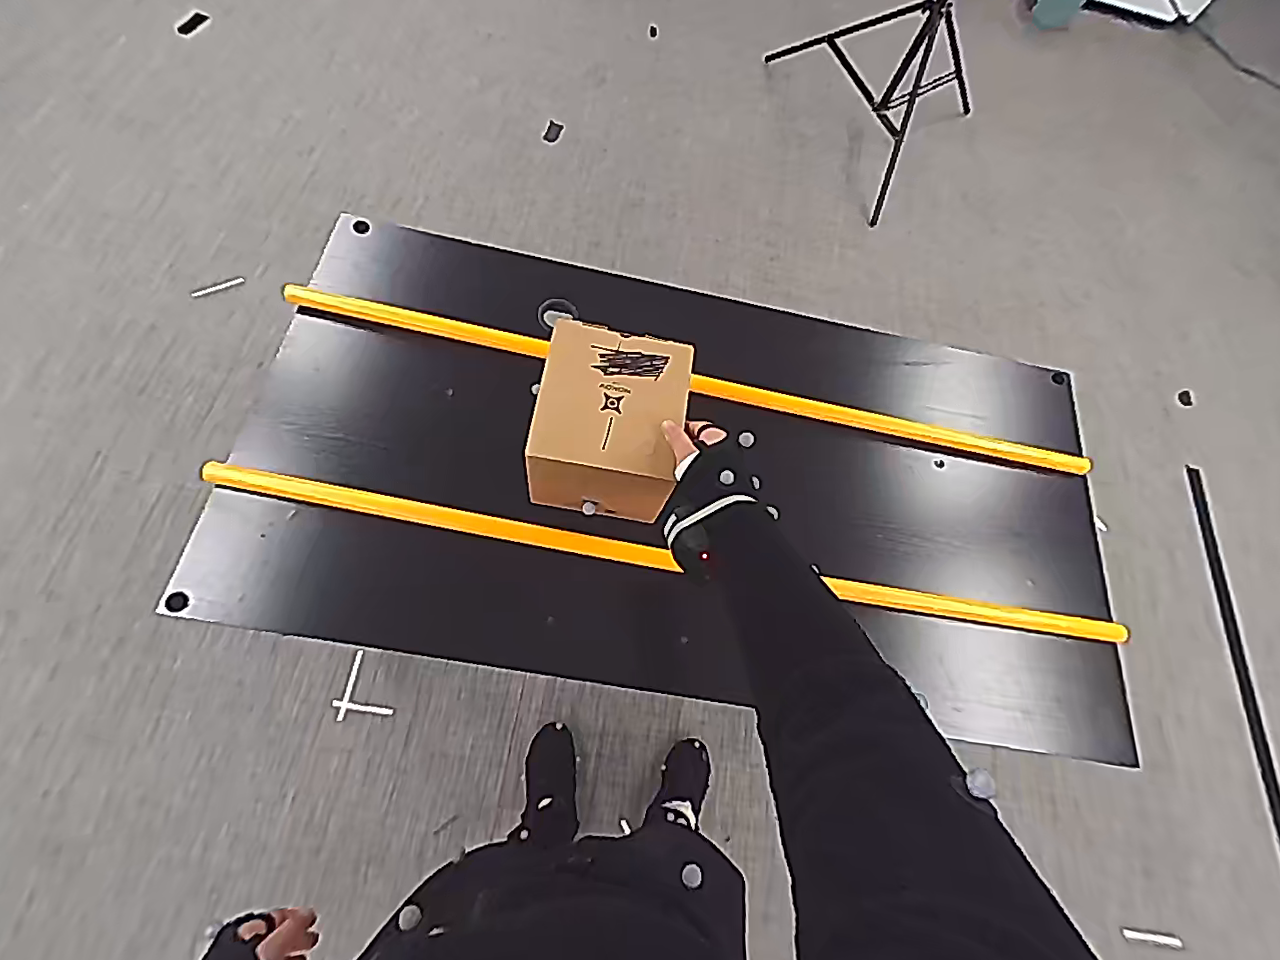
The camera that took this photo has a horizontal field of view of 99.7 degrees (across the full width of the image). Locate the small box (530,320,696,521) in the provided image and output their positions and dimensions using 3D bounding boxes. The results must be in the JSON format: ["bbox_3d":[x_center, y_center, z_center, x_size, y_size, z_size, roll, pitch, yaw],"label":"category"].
[{"bbox_3d":[-0.037,-0.064,0.676,0.168,0.176,0.179,10,69,-4],"label":"small box"}]
